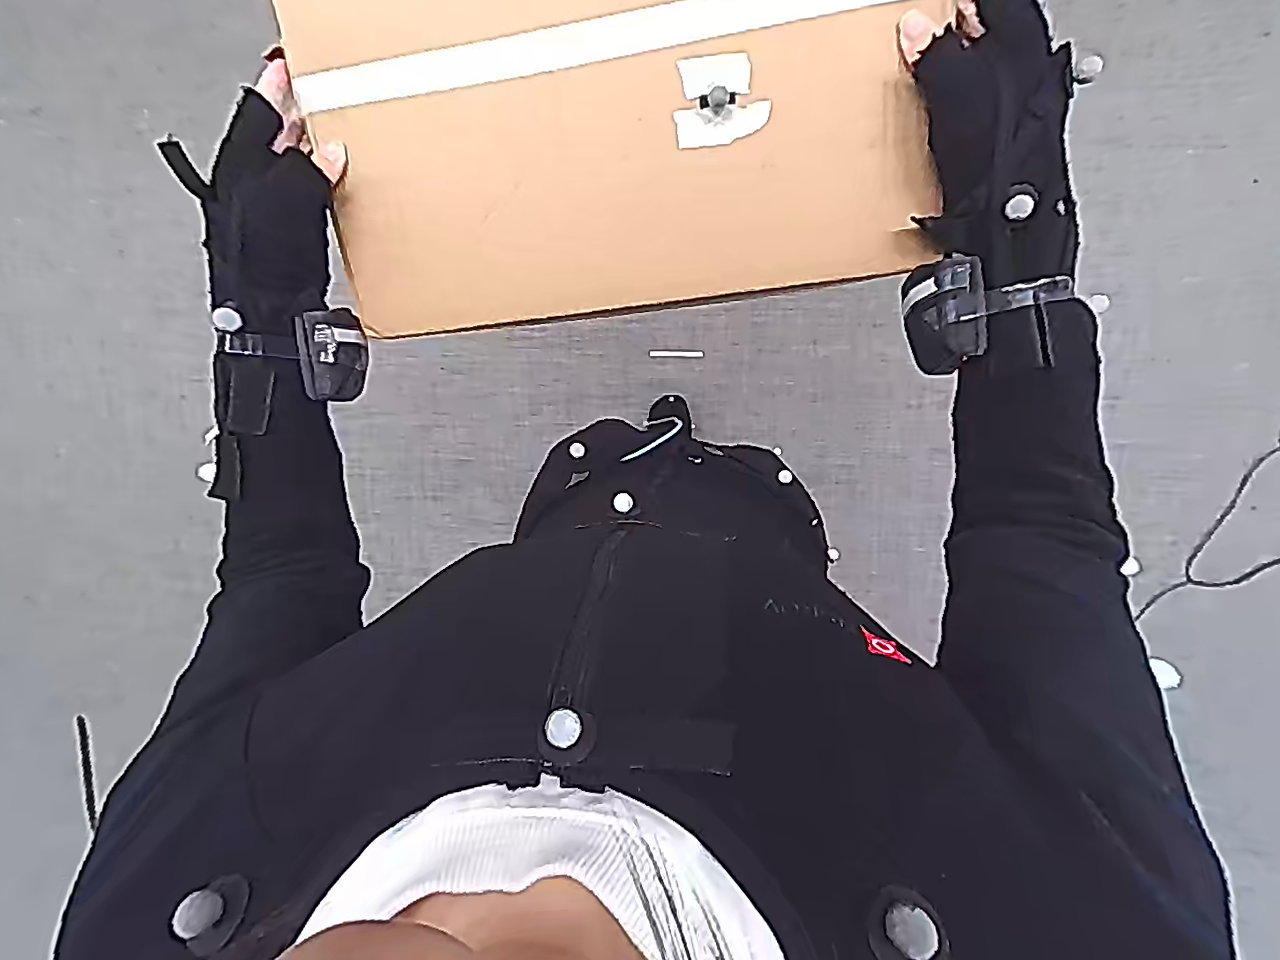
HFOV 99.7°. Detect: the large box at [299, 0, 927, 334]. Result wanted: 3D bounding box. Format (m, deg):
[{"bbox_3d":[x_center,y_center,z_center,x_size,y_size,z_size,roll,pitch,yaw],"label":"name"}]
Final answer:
[{"bbox_3d":[-0.011,-0.322,0.490,0.408,0.320,0.320,-6,107,7],"label":"large box"}]
